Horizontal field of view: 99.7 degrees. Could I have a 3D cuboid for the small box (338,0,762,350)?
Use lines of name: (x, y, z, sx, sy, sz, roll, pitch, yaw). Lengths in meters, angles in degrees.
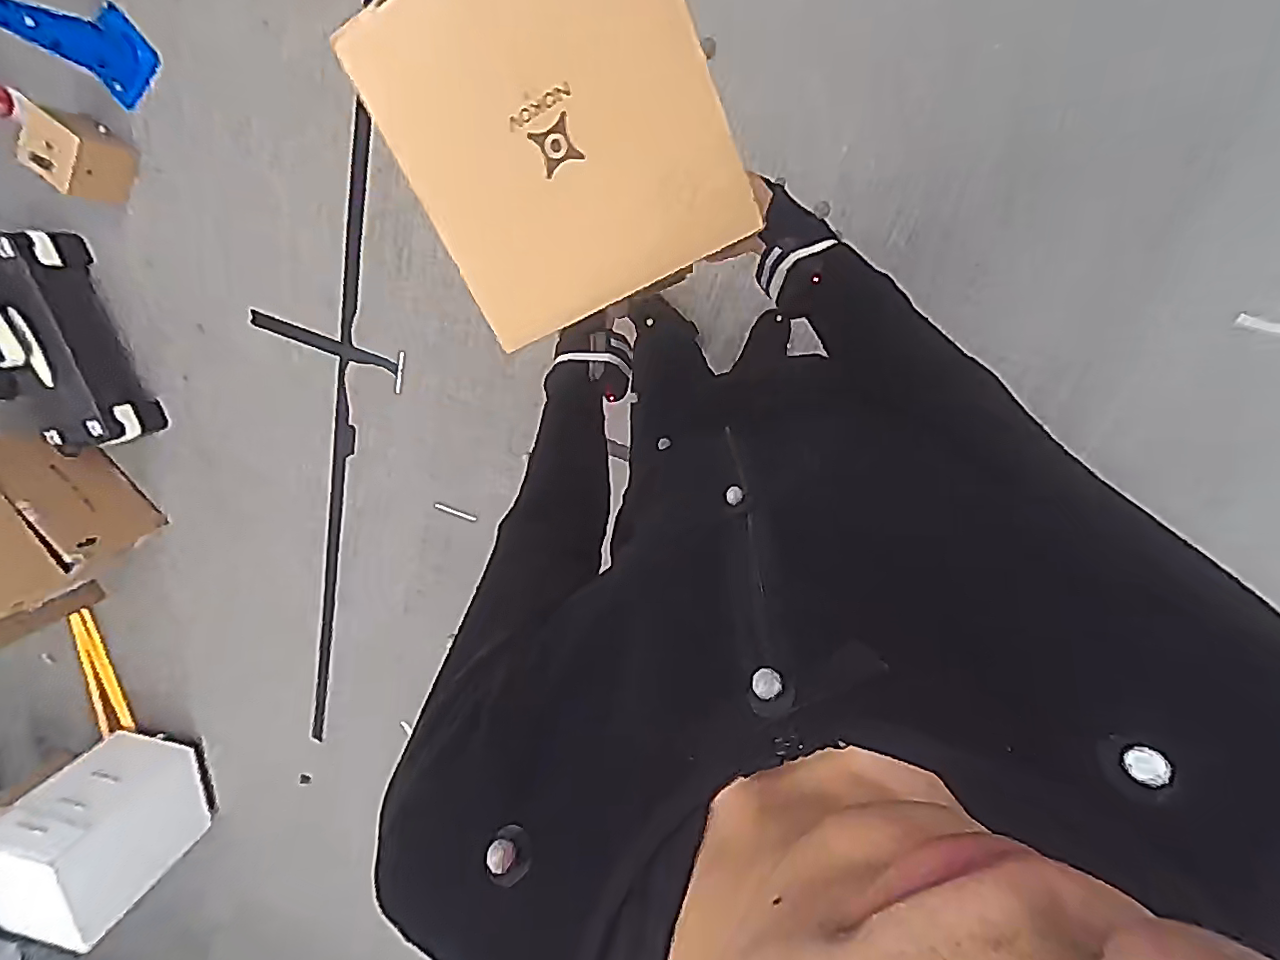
small box: (-0.032, -0.210, 0.344, 0.168, 0.176, 0.179, -21, 110, 17)
